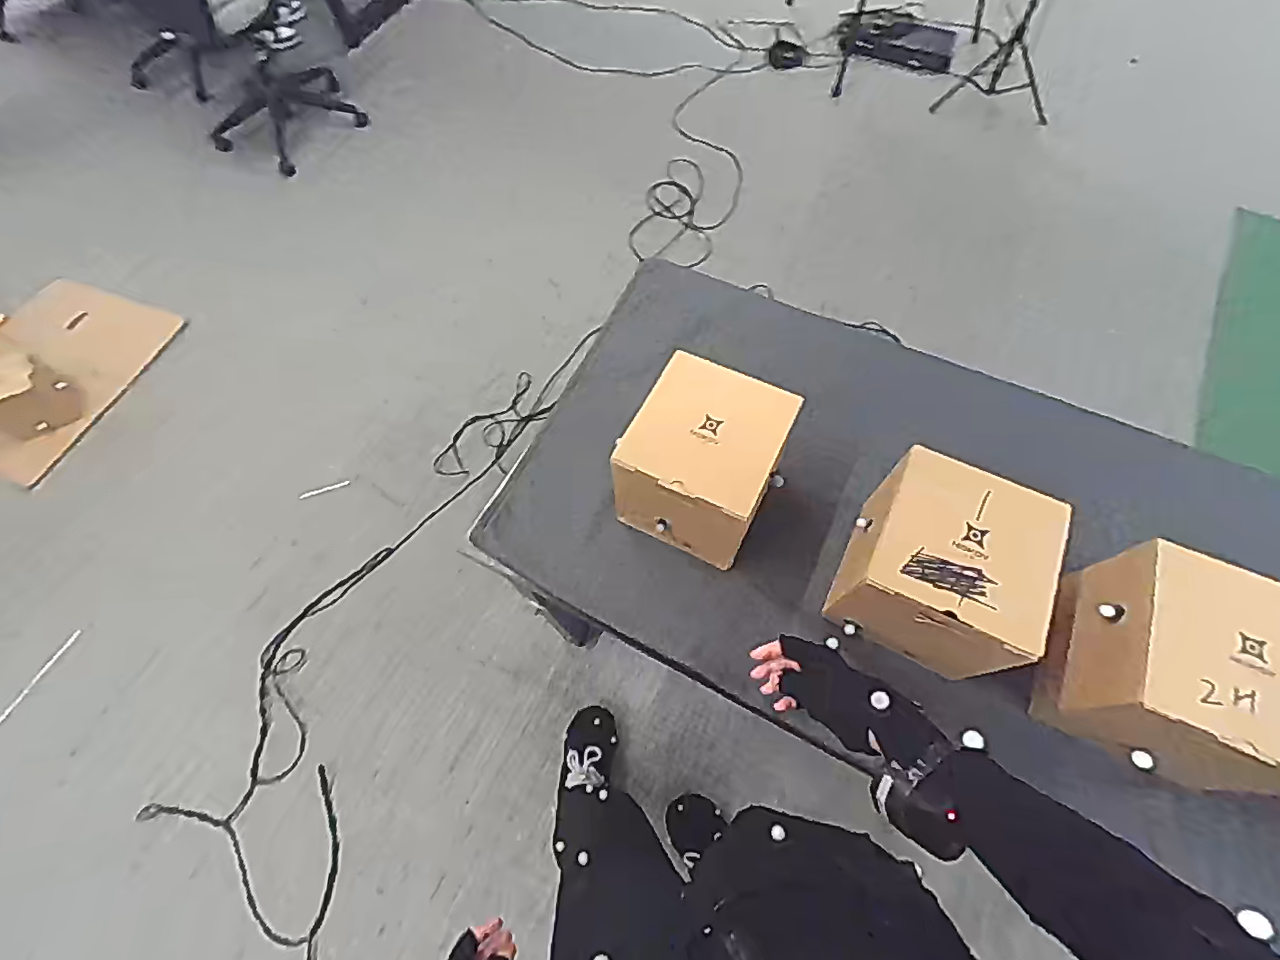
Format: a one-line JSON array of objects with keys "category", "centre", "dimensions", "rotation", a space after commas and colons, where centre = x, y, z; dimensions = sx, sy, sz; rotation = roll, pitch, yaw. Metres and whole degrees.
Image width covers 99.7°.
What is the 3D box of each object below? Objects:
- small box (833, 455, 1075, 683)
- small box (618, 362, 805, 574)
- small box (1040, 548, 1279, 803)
[{"category": "small box", "centre": [0.338, 0.108, 0.613], "dimensions": [0.168, 0.176, 0.179], "rotation": [25, 66, 14]}, {"category": "small box", "centre": [0.083, -0.009, 0.682], "dimensions": [0.168, 0.176, 0.179], "rotation": [24, 66, 13]}, {"category": "small box", "centre": [0.555, 0.203, 0.557], "dimensions": [0.168, 0.176, 0.179], "rotation": [22, 66, 14]}]
